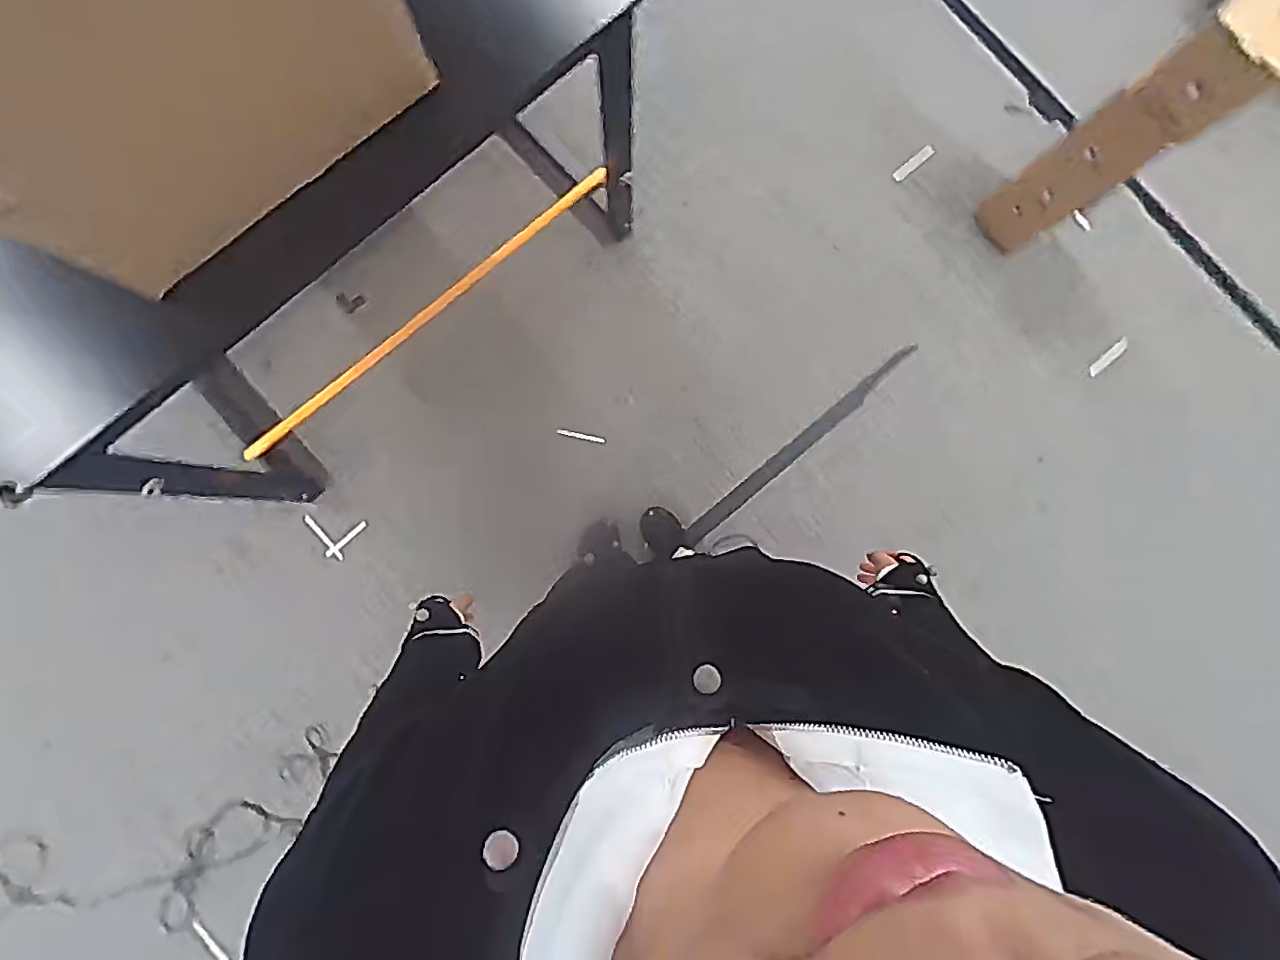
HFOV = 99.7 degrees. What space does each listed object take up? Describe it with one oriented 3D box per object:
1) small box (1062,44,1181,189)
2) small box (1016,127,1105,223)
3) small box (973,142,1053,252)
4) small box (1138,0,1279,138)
[{"bbox_3d":[1.091,-0.787,1.179,0.179,0.176,0.168,-38,87,-2],"label":"small box"},{"bbox_3d":[1.097,-0.787,1.342,0.179,0.176,0.168,-38,88,-3],"label":"small box"},{"bbox_3d":[1.084,-0.779,1.506,0.168,0.176,0.179,-37,89,-3],"label":"small box"},{"bbox_3d":[1.105,-0.798,1.016,0.179,0.176,0.168,-42,88,-3],"label":"small box"}]
